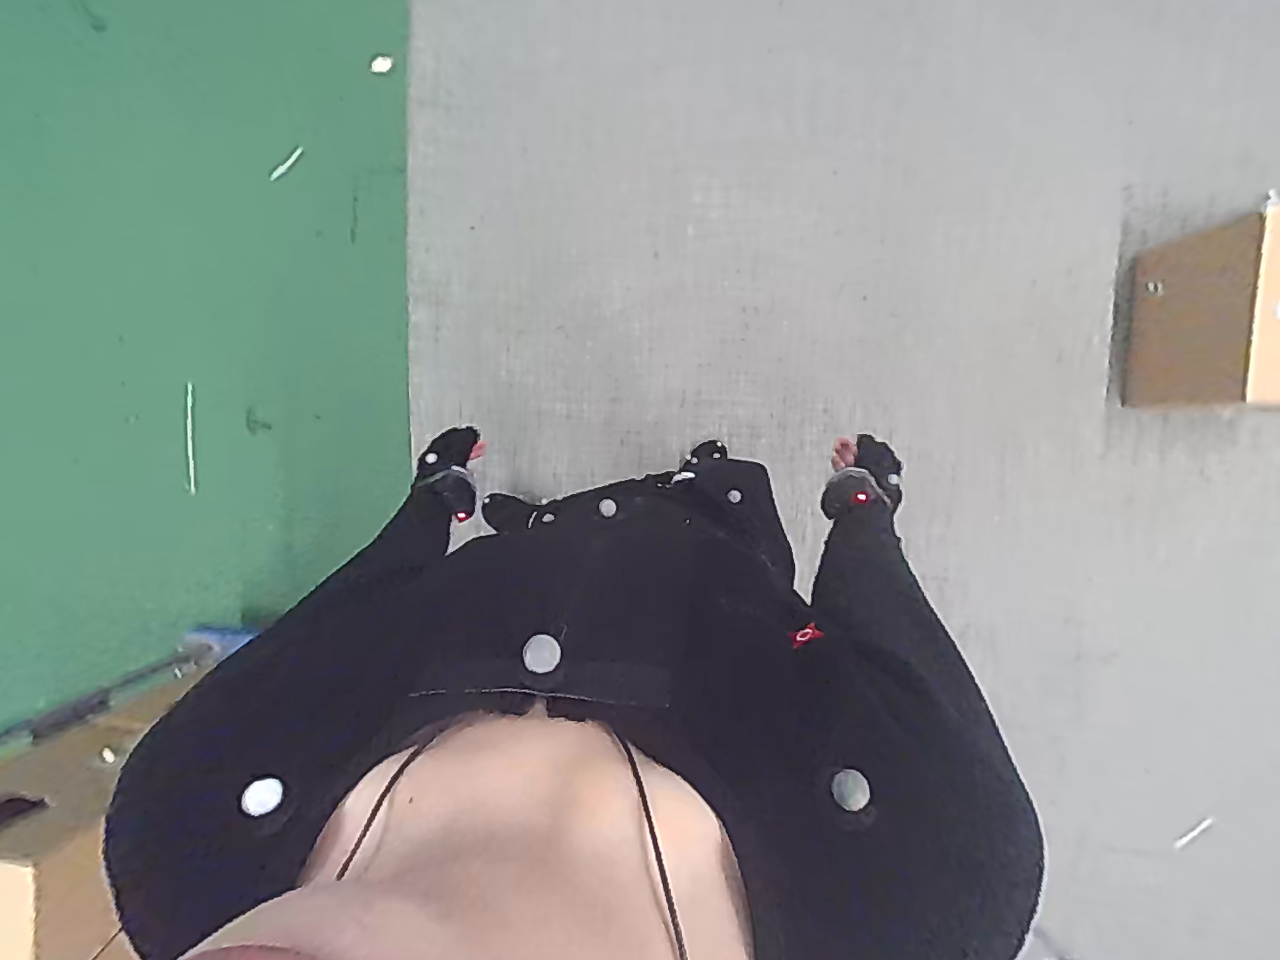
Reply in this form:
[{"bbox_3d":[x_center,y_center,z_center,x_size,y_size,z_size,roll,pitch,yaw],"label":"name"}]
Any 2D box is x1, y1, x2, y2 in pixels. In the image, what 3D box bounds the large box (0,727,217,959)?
[{"bbox_3d":[-1.030,0.723,0.967,0.320,0.320,0.408,7,96,5],"label":"large box"}]
